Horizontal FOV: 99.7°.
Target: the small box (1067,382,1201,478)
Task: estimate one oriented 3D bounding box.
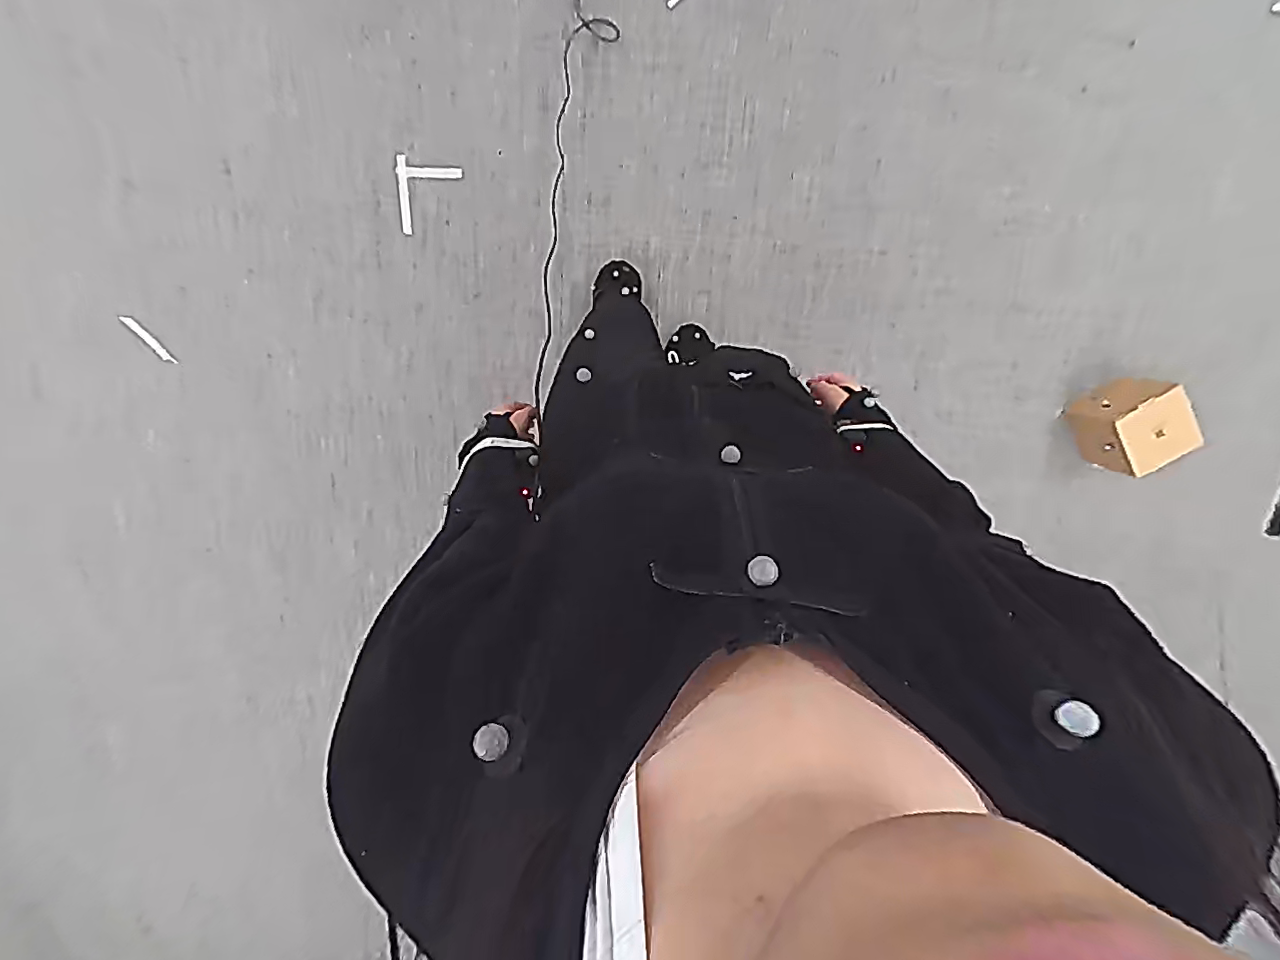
[{"bbox_3d":[1.247,-0.136,1.379,0.168,0.176,0.179,-32,105,11],"label":"small box"}]
